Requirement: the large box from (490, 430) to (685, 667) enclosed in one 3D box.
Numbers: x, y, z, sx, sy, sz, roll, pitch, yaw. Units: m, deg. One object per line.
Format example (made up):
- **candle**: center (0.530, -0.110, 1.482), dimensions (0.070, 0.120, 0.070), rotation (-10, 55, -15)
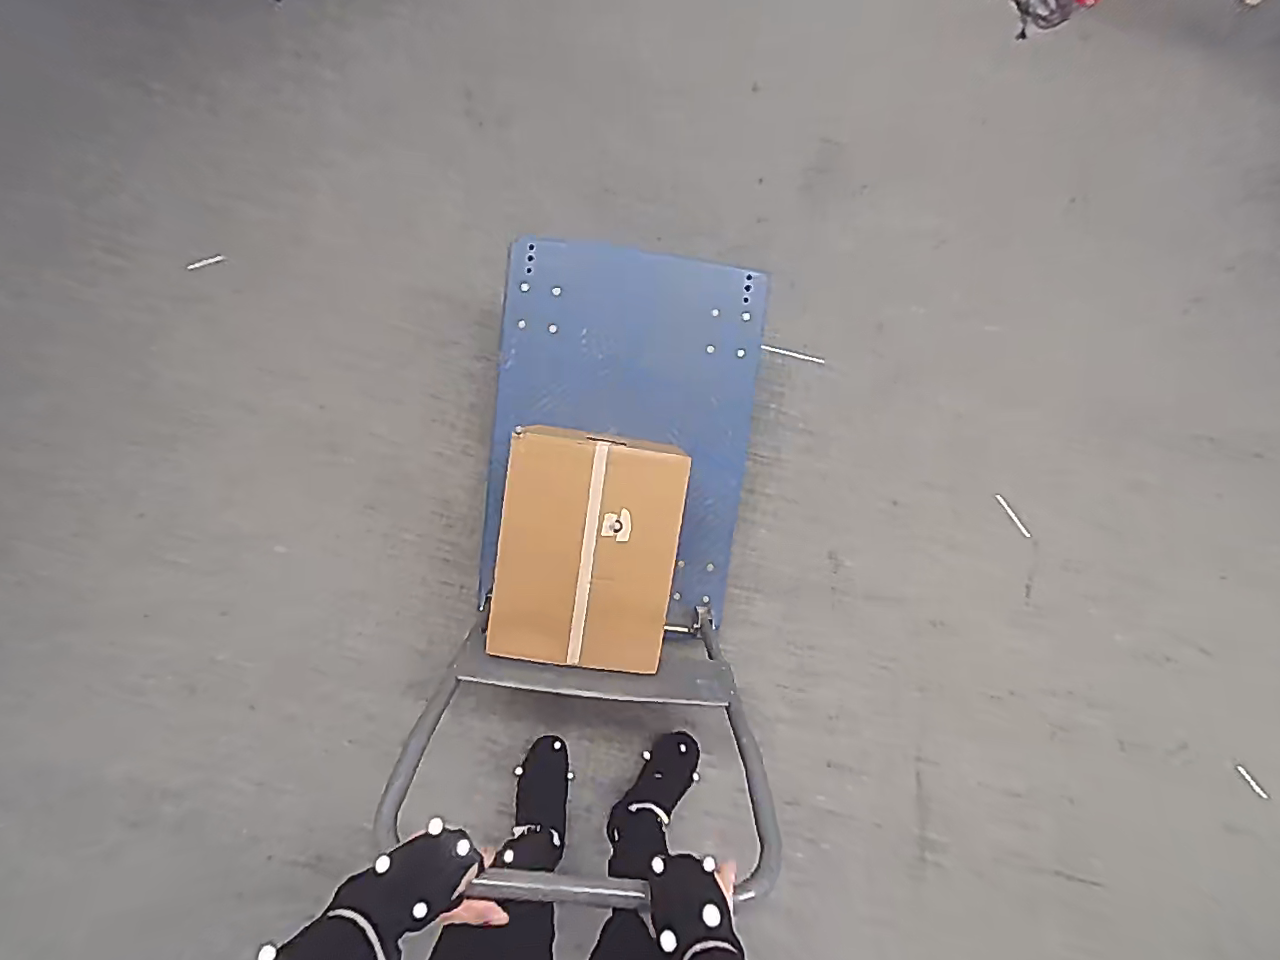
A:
- **large box**: center (-0.101, 0.117, 1.110), dimensions (0.320, 0.320, 0.408), rotation (8, 96, -4)
